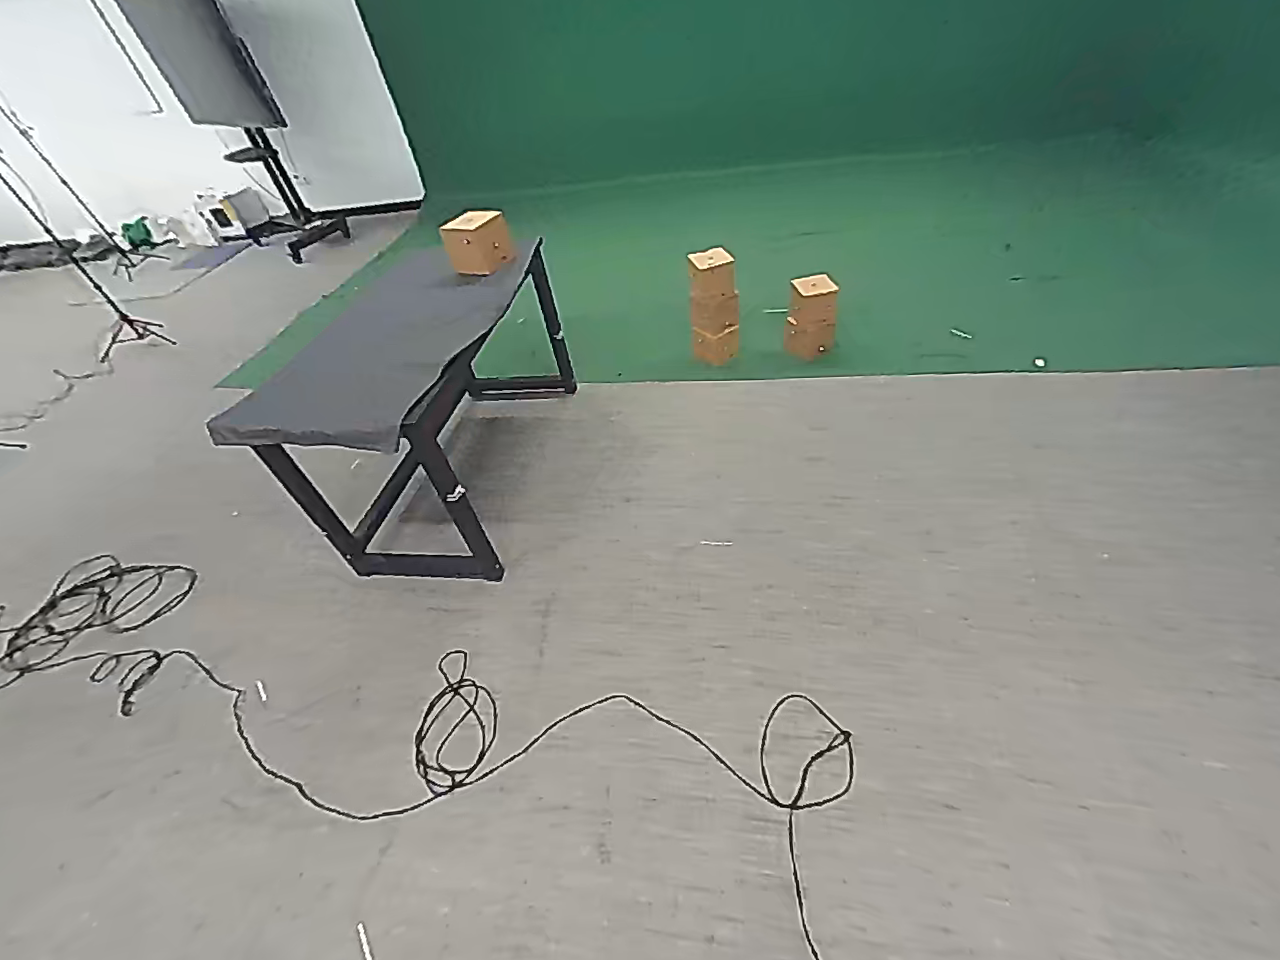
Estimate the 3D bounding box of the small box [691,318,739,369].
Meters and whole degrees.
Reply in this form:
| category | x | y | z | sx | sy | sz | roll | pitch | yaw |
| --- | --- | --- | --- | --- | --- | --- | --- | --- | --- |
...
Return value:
| category | x | y | z | sx | sy | sz | roll | pitch | yaw |
| --- | --- | --- | --- | --- | --- | --- | --- | --- | --- |
| small box | 0.378 | -0.674 | 2.694 | 0.168 | 0.176 | 0.179 | -31 | 46 | -19 |

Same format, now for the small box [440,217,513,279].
| category | x | y | z | sx | sy | sz | roll | pitch | yaw |
| --- | --- | --- | --- | --- | --- | --- | --- | --- | --- |
| small box | -0.607 | -0.871 | 2.034 | 0.179 | 0.176 | 0.168 | 14 | 49 | 28 |

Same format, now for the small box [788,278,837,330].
| category | x | y | z | sx | sy | sz | roll | pitch | yaw |
| --- | --- | --- | --- | --- | --- | --- | --- | --- | --- |
| small box | 0.798 | -0.811 | 2.508 | 0.168 | 0.176 | 0.179 | -11 | 42 | -1 |

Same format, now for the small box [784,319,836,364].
| category | x | y | z | sx | sy | sz | roll | pitch | yaw |
| --- | --- | --- | --- | --- | --- | --- | --- | --- | --- |
| small box | 0.816 | -0.689 | 2.614 | 0.168 | 0.176 | 0.179 | -26 | 46 | -15 |

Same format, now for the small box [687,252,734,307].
| category | x | y | z | sx | sy | sz | roll | pitch | yaw |
| --- | --- | --- | --- | --- | --- | --- | --- | --- | --- |
| small box | 0.325 | -0.922 | 2.484 | 0.168 | 0.176 | 0.179 | -17 | 44 | -6 |
